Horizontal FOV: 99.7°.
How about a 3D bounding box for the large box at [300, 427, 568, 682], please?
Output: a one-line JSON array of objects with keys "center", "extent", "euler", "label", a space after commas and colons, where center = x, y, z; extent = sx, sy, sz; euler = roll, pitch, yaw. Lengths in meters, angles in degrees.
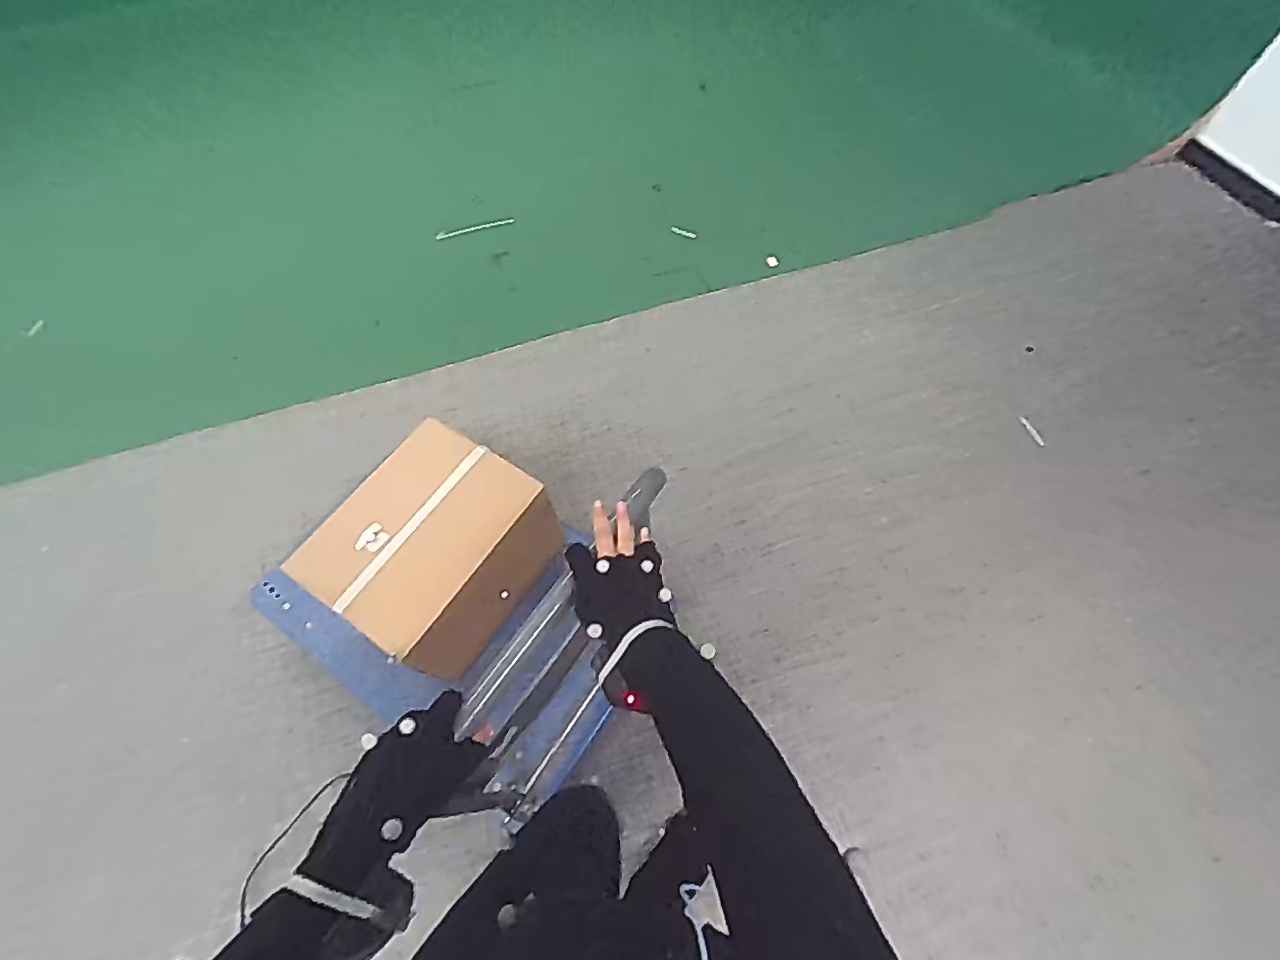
[{"center": [-0.410, 0.168, 1.189], "extent": [0.320, 0.320, 0.408], "euler": [29, 68, 16], "label": "large box"}]
